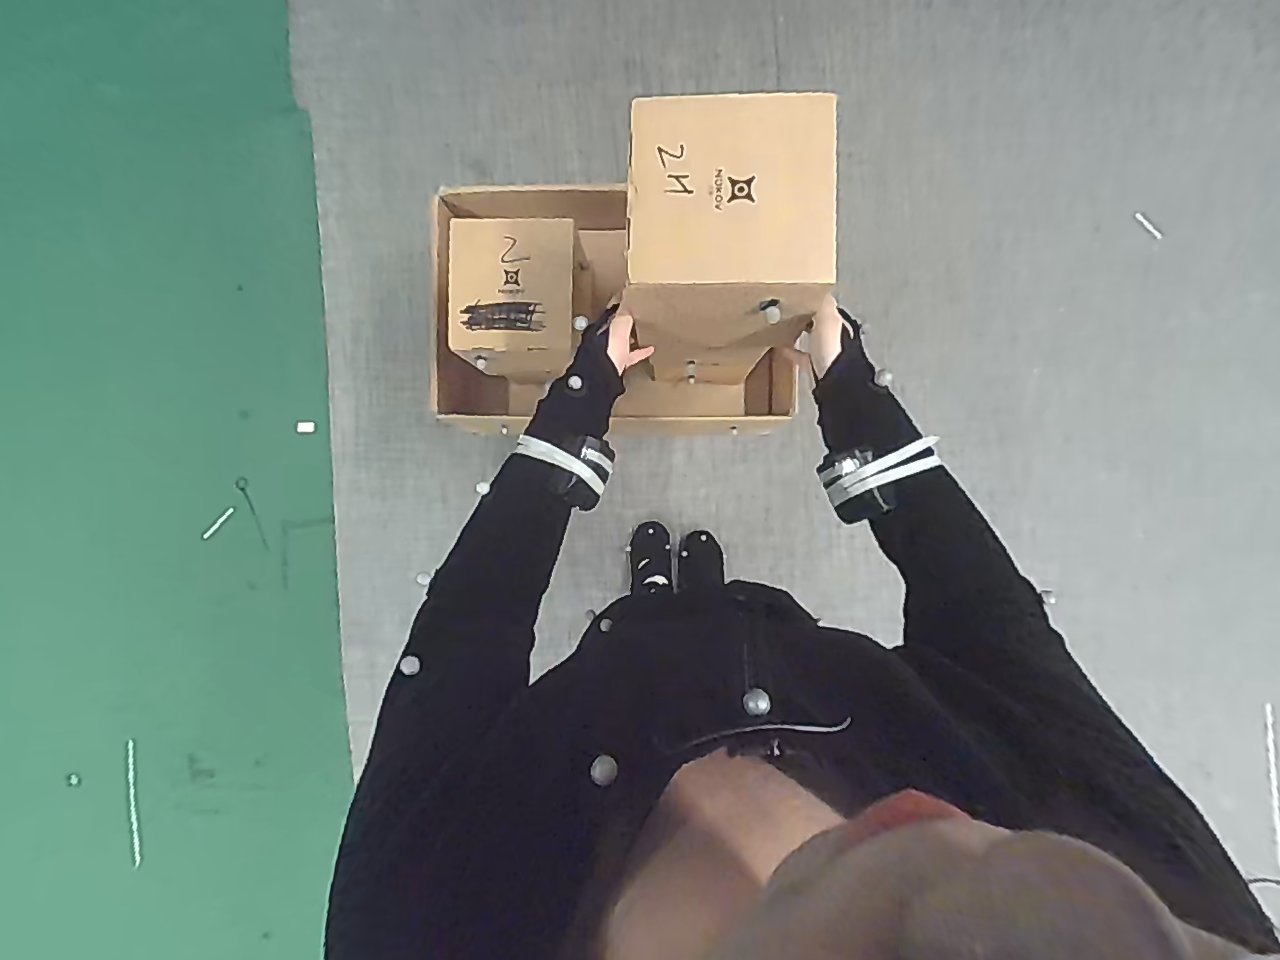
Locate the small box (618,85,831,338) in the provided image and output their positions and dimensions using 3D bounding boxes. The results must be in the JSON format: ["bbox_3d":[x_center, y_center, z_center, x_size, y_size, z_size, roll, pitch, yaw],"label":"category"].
[{"bbox_3d":[0.077,-0.247,0.534,0.179,0.176,0.168,1,86,5],"label":"small box"}]

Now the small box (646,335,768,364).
[{"bbox_3d":[0.094,-0.274,0.781,0.168,0.176,0.179,3,92,3],"label":"small box"}]
